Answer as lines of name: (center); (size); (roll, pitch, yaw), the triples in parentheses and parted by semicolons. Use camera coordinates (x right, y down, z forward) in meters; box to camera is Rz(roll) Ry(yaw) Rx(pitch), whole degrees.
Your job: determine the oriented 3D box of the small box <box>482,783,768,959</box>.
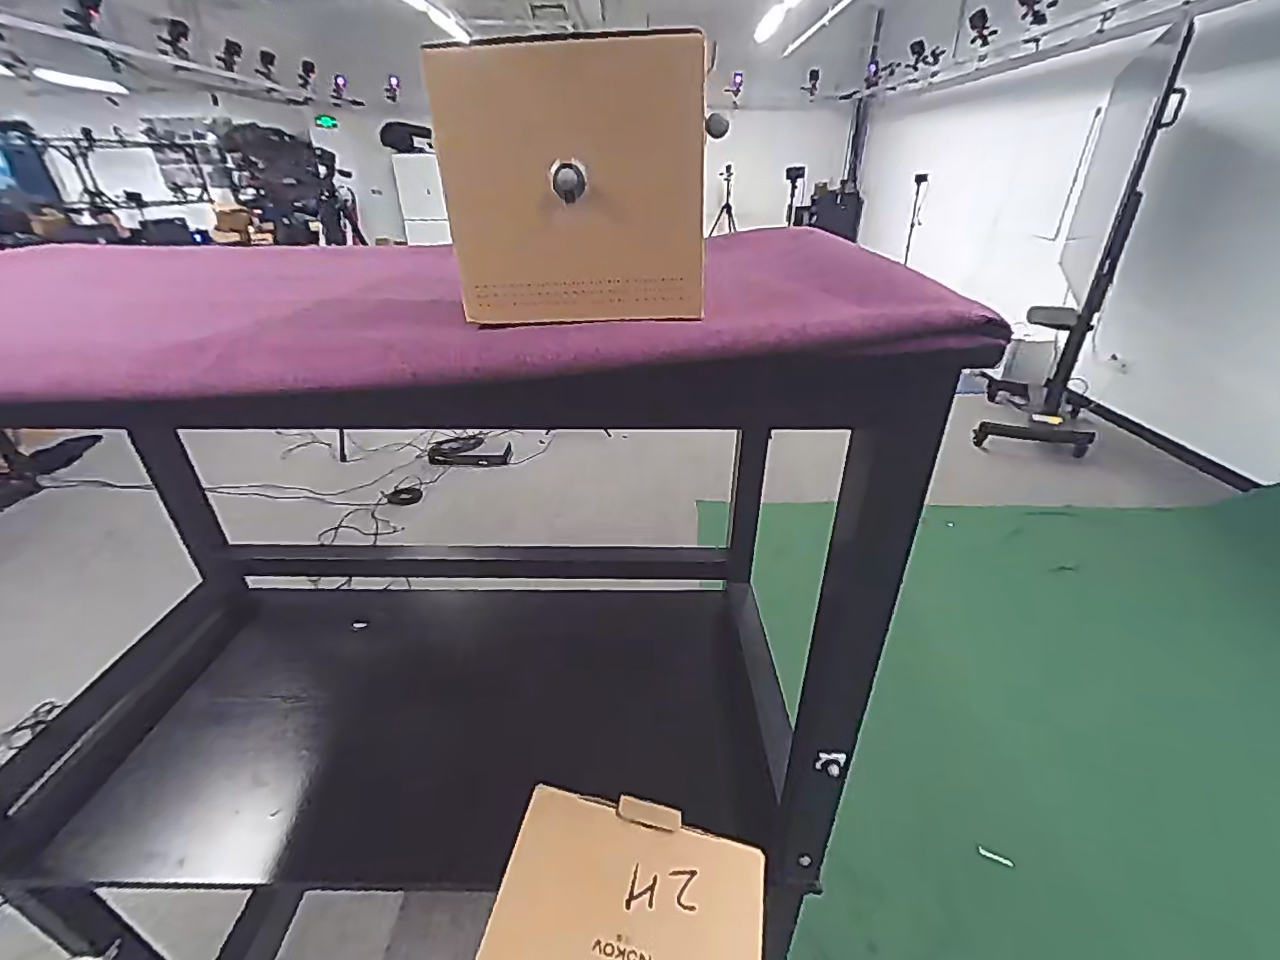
small box: (-0.019, 0.348, 0.364); (0.168, 0.176, 0.179); (14, 39, 5)
